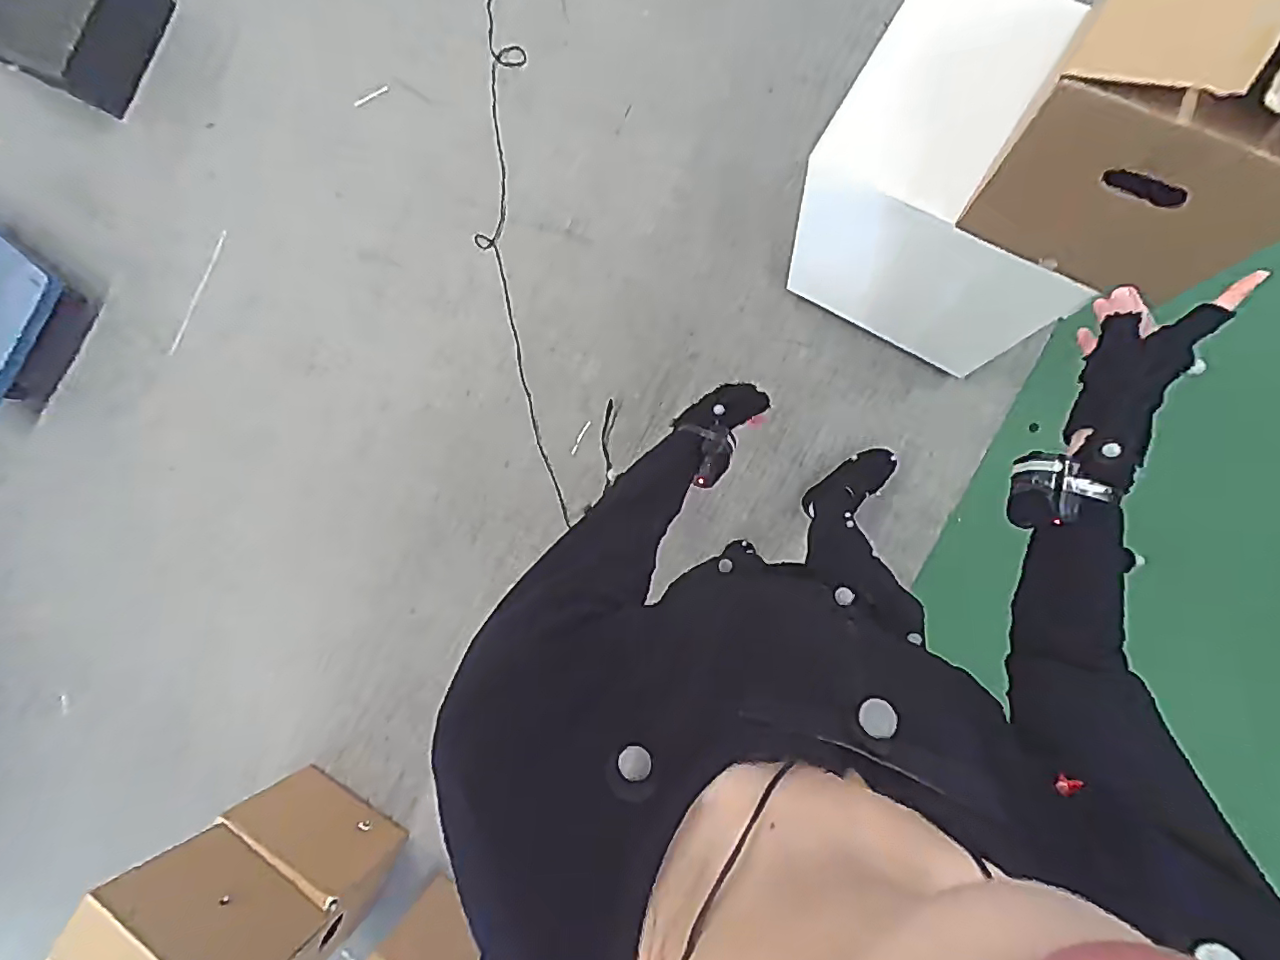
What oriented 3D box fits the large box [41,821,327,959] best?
[{"bbox_3d":[-1.039,1.089,1.231,0.408,0.320,0.320,29,88,12],"label":"large box"}]
